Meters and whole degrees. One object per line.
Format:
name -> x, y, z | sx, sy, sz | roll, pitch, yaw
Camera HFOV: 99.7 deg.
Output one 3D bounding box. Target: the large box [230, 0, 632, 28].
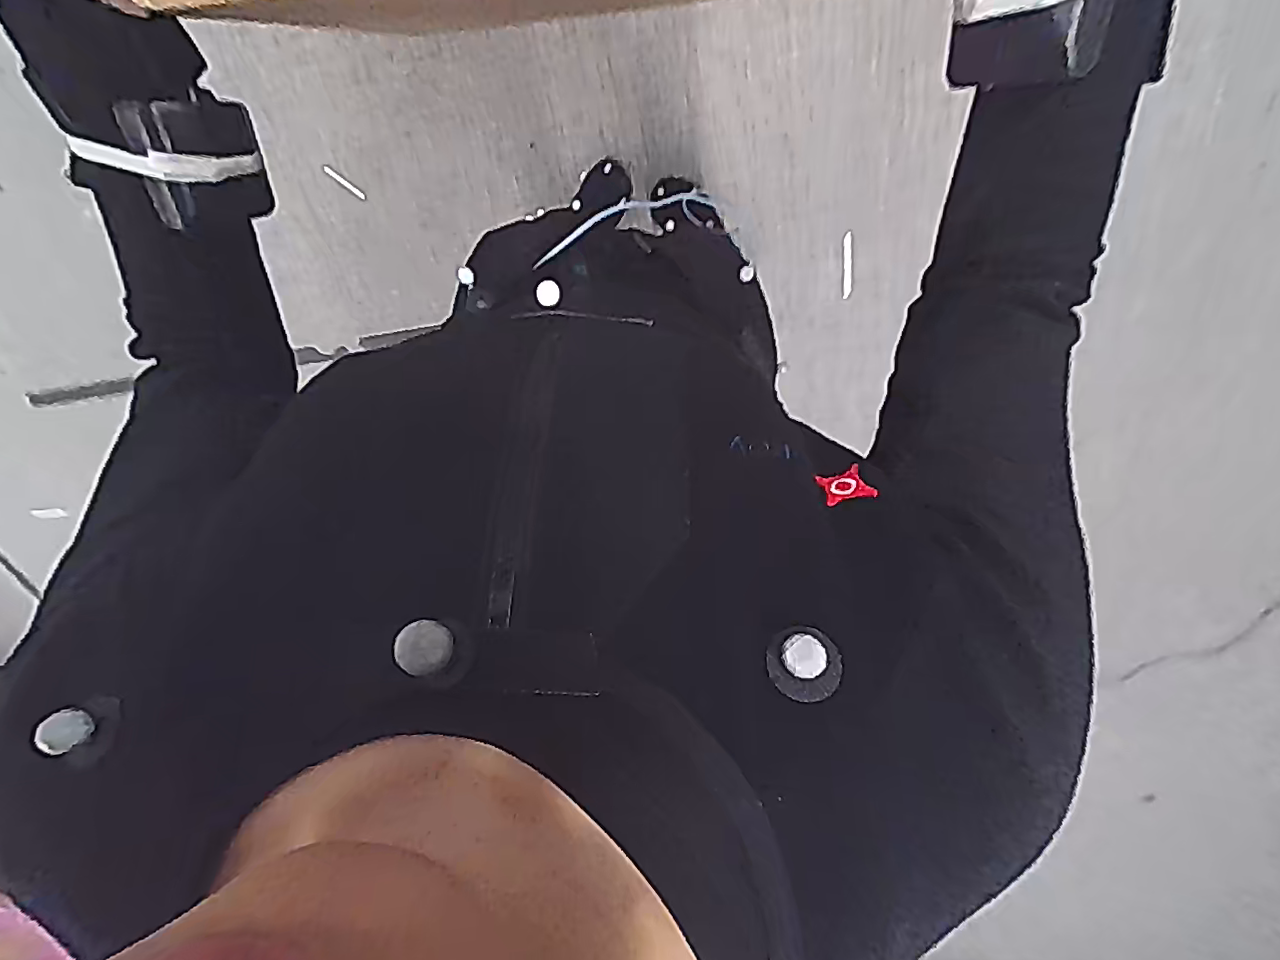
large box -> -0.033, -0.451, 0.264 | 0.408, 0.320, 0.320 | -1, 128, 6
